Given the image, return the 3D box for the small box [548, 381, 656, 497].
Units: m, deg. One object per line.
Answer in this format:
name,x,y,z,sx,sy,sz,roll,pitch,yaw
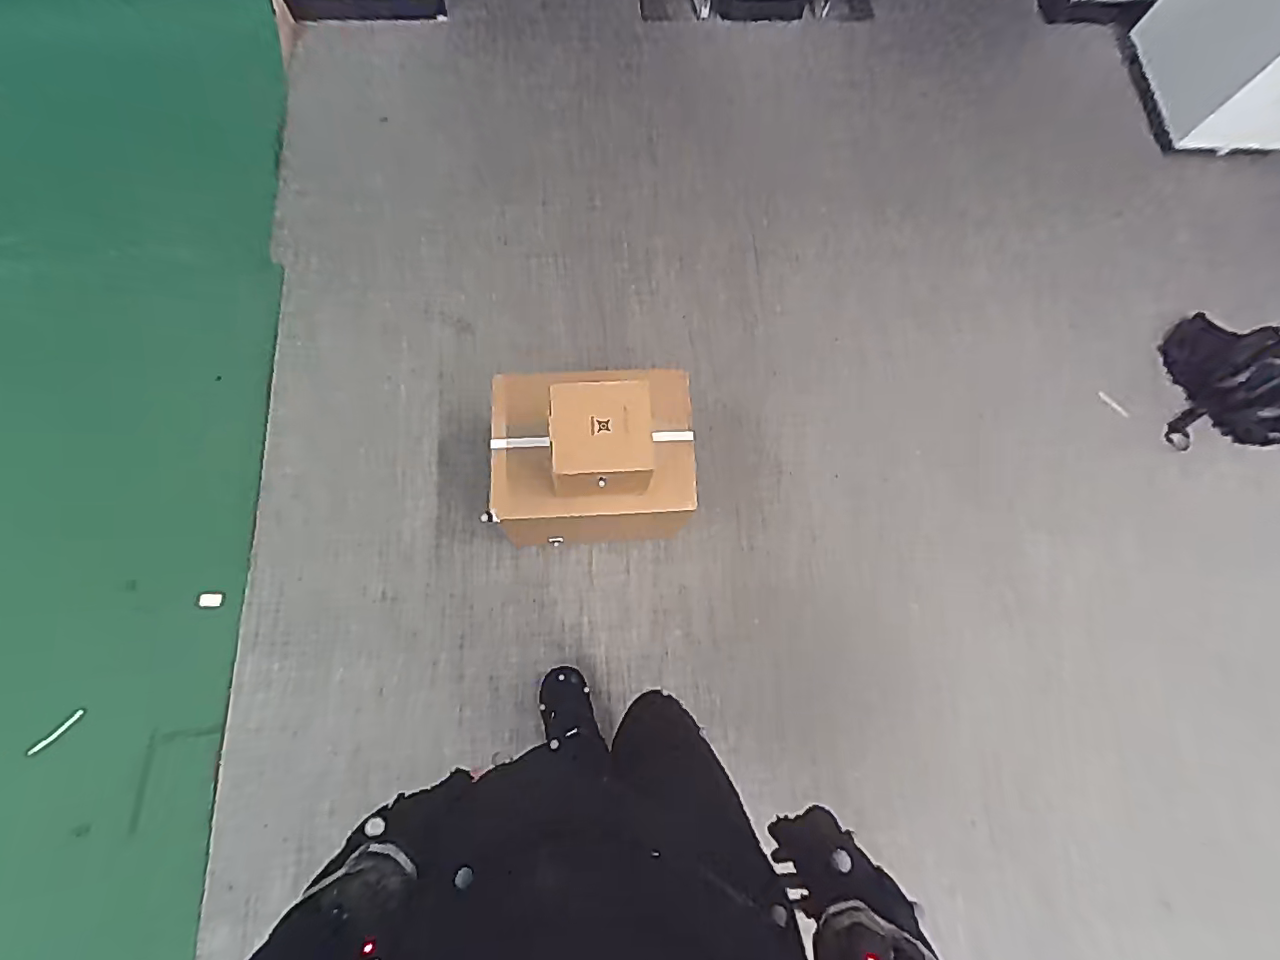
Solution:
small box,-0.070,-0.068,0.998,0.179,0.176,0.168,-5,76,-5
